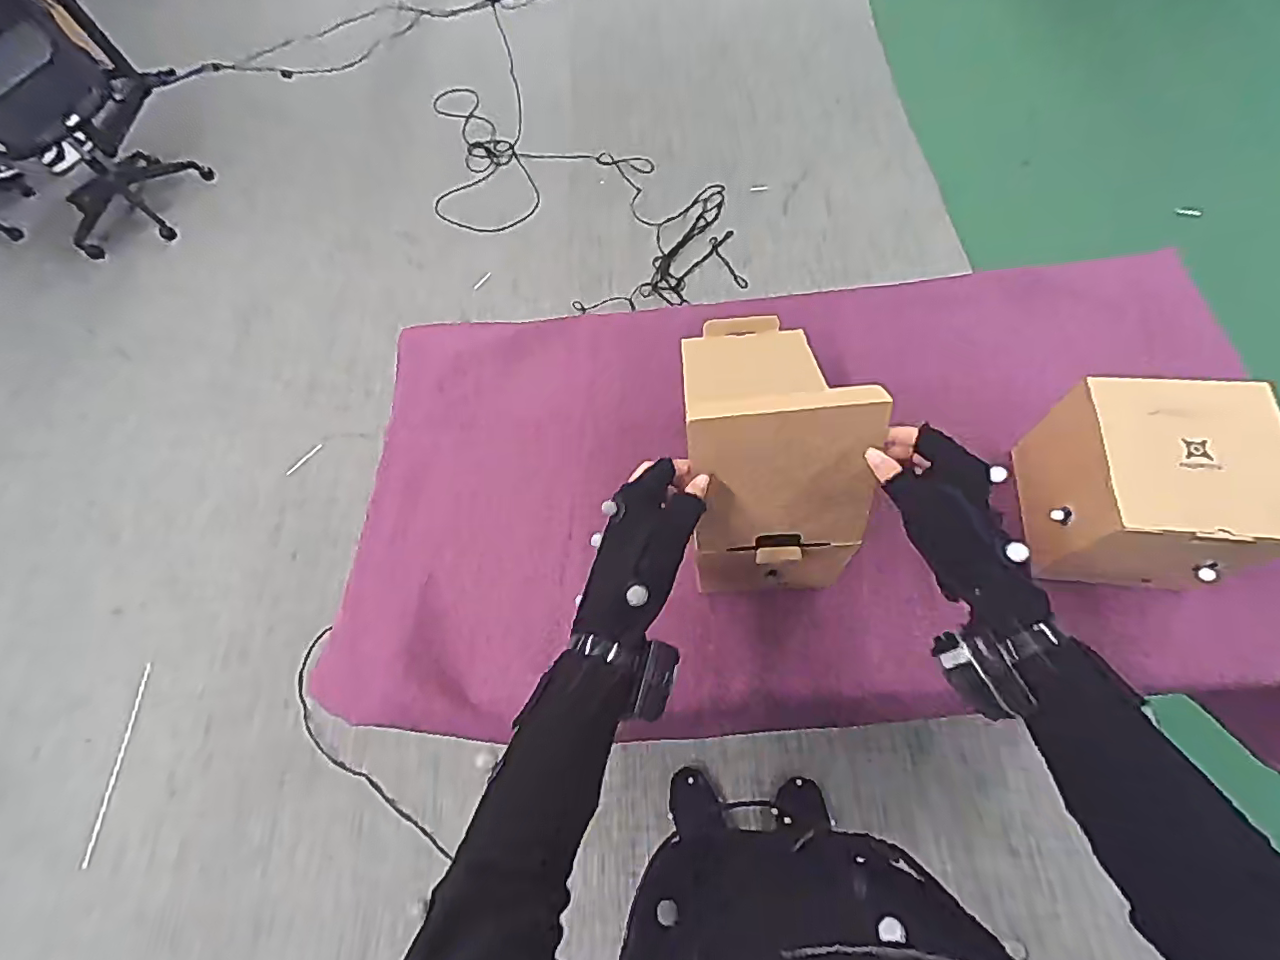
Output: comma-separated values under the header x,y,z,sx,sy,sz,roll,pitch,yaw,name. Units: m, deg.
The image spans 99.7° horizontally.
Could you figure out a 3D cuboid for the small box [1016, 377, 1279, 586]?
x,y,z,sx,sy,sz,roll,pitch,yaw,name
0.549,0.009,0.594,0.168,0.176,0.179,5,65,11,small box
